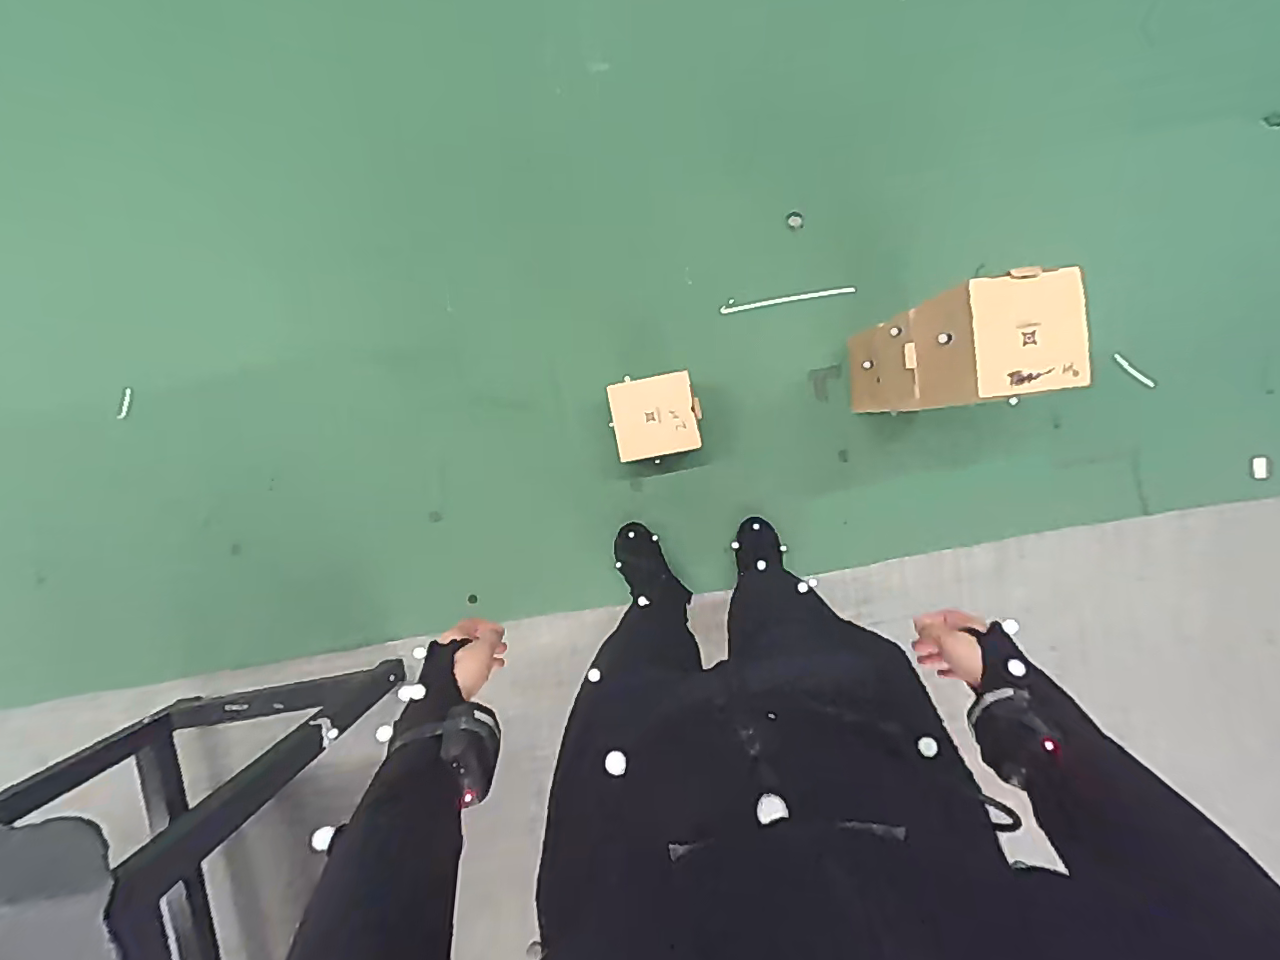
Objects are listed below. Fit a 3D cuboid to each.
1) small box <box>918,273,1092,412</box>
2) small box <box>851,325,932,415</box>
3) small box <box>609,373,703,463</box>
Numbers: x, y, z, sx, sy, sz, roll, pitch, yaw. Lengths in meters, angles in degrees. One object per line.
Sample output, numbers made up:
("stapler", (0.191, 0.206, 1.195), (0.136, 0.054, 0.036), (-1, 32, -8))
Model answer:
("small box", (0.570, -0.211, 0.867), (0.168, 0.176, 0.179), (-6, 92, 0))
("small box", (0.580, -0.236, 1.195), (0.168, 0.176, 0.179), (-2, 92, 1))
("small box", (0.036, -0.132, 1.205), (0.179, 0.176, 0.168), (-11, 93, 1))
